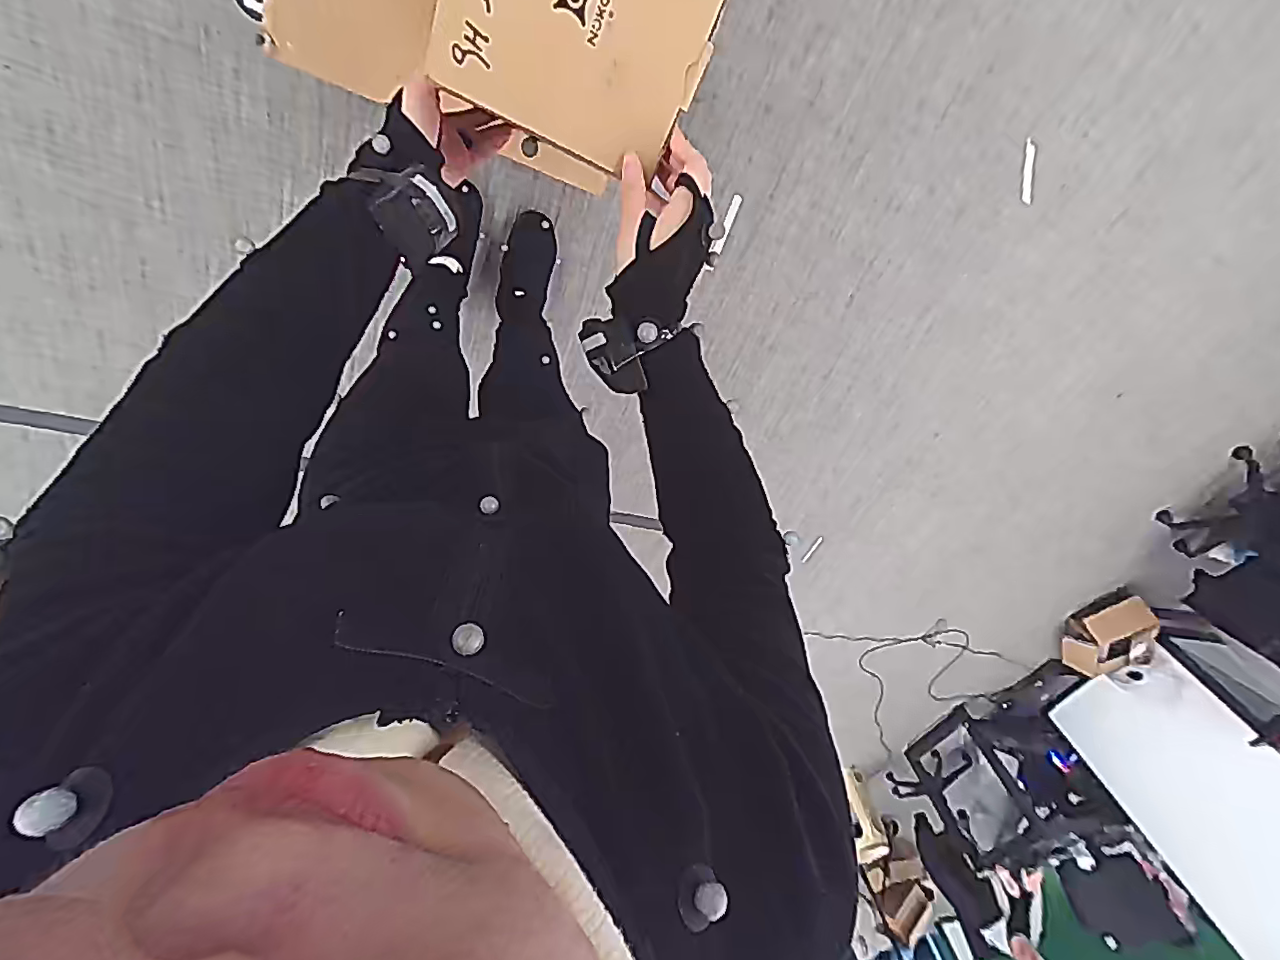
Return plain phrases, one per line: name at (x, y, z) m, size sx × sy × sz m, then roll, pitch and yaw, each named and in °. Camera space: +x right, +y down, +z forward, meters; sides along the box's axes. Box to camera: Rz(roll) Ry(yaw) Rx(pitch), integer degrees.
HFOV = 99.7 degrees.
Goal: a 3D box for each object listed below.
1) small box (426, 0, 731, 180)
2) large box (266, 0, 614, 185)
small box at (-0.048, -0.361, 0.414) m, size 0.179 × 0.176 × 0.168 m, roll 15°, pitch 117°, yaw -24°
large box at (-0.195, -0.641, 0.694) m, size 0.408 × 0.320 × 0.320 m, roll 13°, pitch 124°, yaw -22°
